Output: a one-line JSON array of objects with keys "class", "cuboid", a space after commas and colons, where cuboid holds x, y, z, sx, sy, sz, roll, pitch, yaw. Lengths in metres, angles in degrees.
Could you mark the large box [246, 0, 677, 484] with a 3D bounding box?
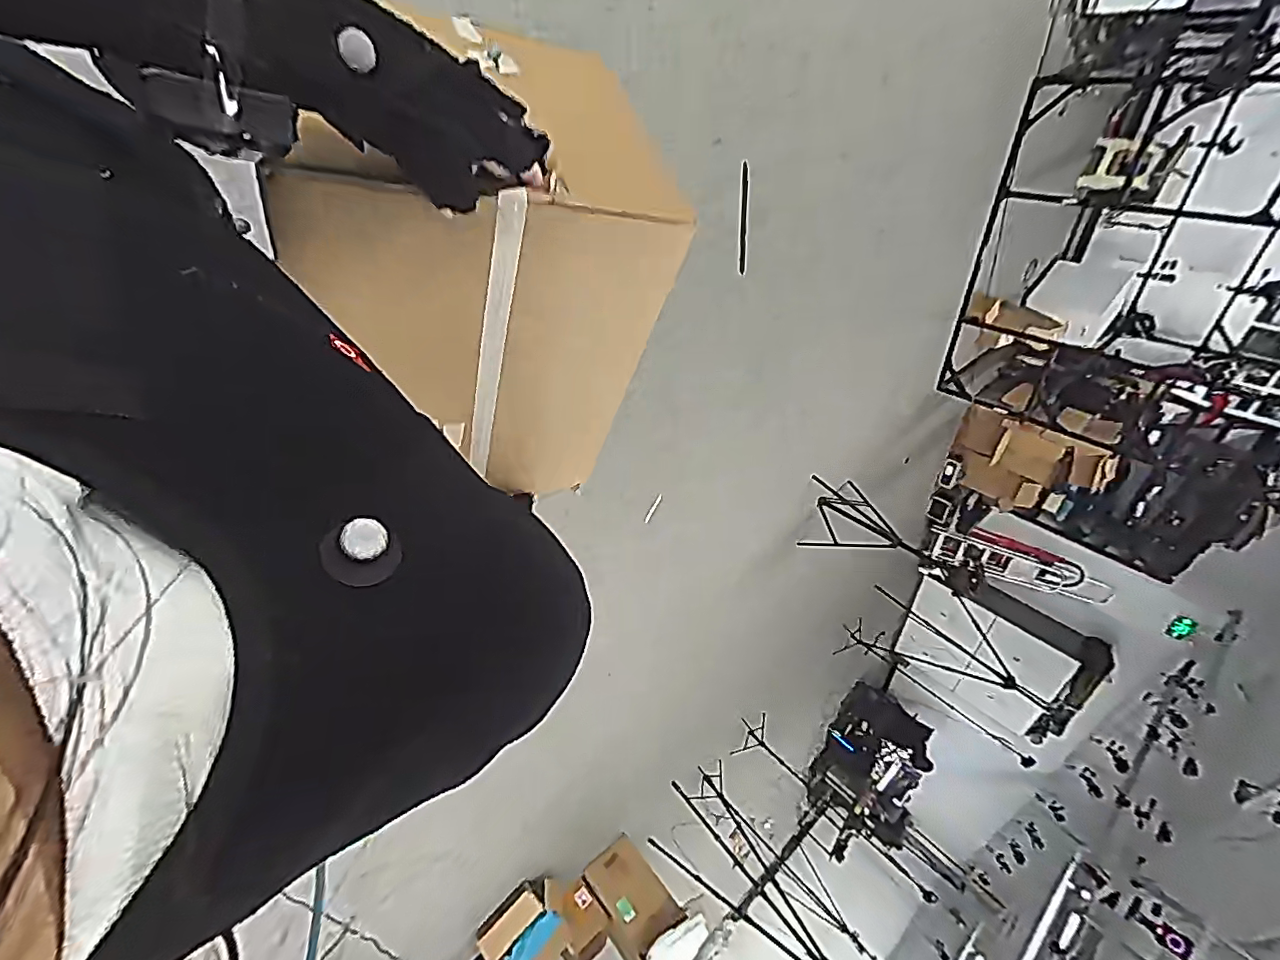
[{"class": "large box", "cuboid": [-0.205, -0.242, 0.613, 0.320, 0.320, 0.408, -5, 149, -24]}]
